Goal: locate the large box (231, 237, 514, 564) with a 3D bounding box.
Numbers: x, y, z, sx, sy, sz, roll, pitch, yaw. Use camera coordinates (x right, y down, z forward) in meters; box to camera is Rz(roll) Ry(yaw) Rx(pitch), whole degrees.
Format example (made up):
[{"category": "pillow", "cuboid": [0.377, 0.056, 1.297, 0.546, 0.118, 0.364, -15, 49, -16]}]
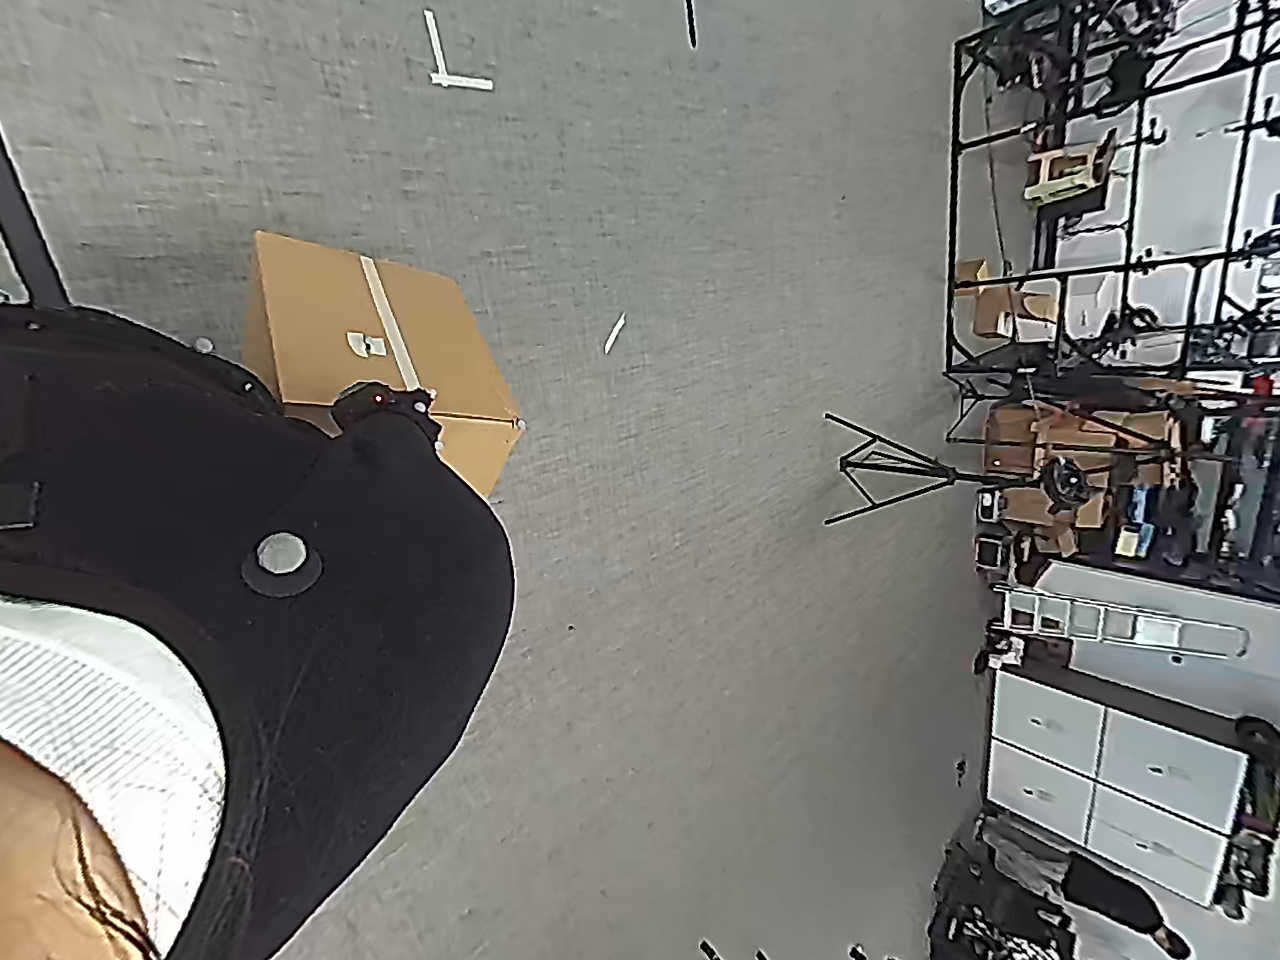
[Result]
[{"category": "large box", "cuboid": [-0.465, -0.121, 0.899, 0.320, 0.408, 0.320, -1, 138, -40]}]
